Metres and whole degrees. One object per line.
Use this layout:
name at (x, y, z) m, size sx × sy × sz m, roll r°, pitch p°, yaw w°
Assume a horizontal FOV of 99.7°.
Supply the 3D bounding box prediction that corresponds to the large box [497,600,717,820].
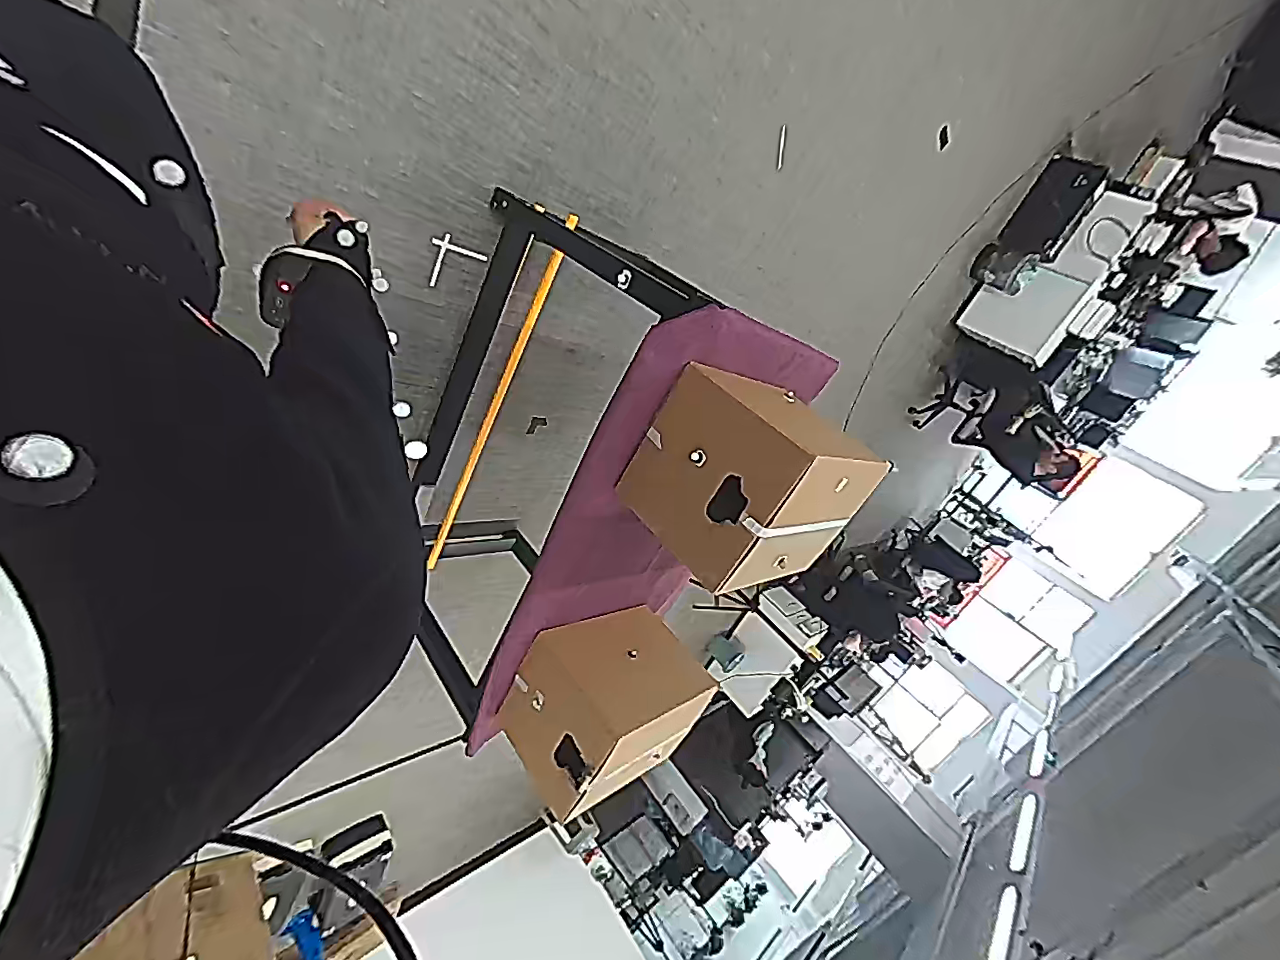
large box at (-0.084, 0.553, 1.385) m, size 0.408 × 0.320 × 0.320 m, roll -1°, pitch 127°, yaw -51°
